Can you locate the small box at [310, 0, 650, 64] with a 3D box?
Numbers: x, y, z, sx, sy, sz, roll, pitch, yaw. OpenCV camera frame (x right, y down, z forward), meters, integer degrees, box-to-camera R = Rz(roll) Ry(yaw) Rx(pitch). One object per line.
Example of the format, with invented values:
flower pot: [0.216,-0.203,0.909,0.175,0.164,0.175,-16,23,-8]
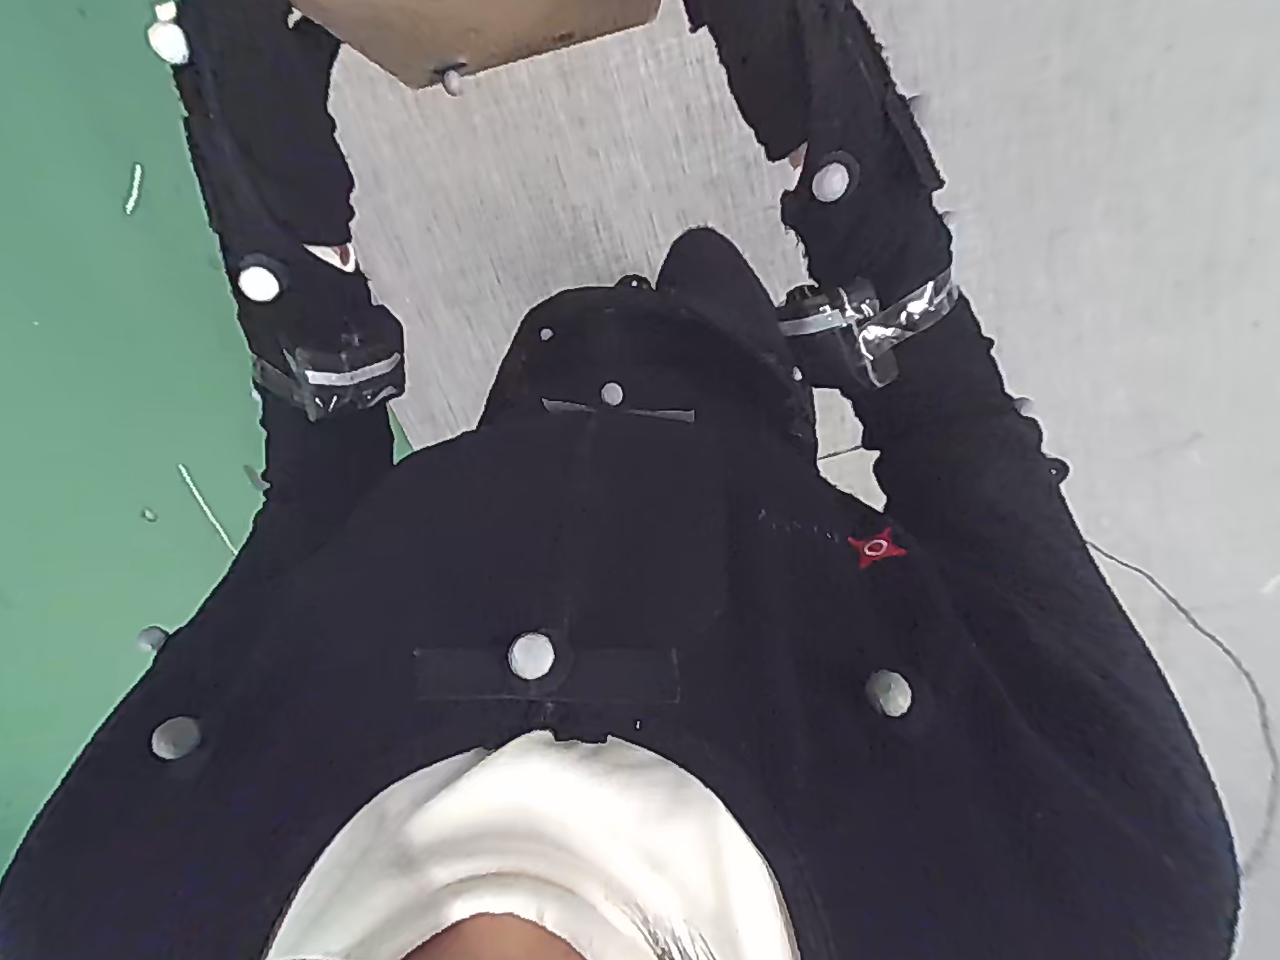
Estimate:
small box: [-0.083,-0.320,0.241,0.168,0.176,0.179,-14,114,3]
